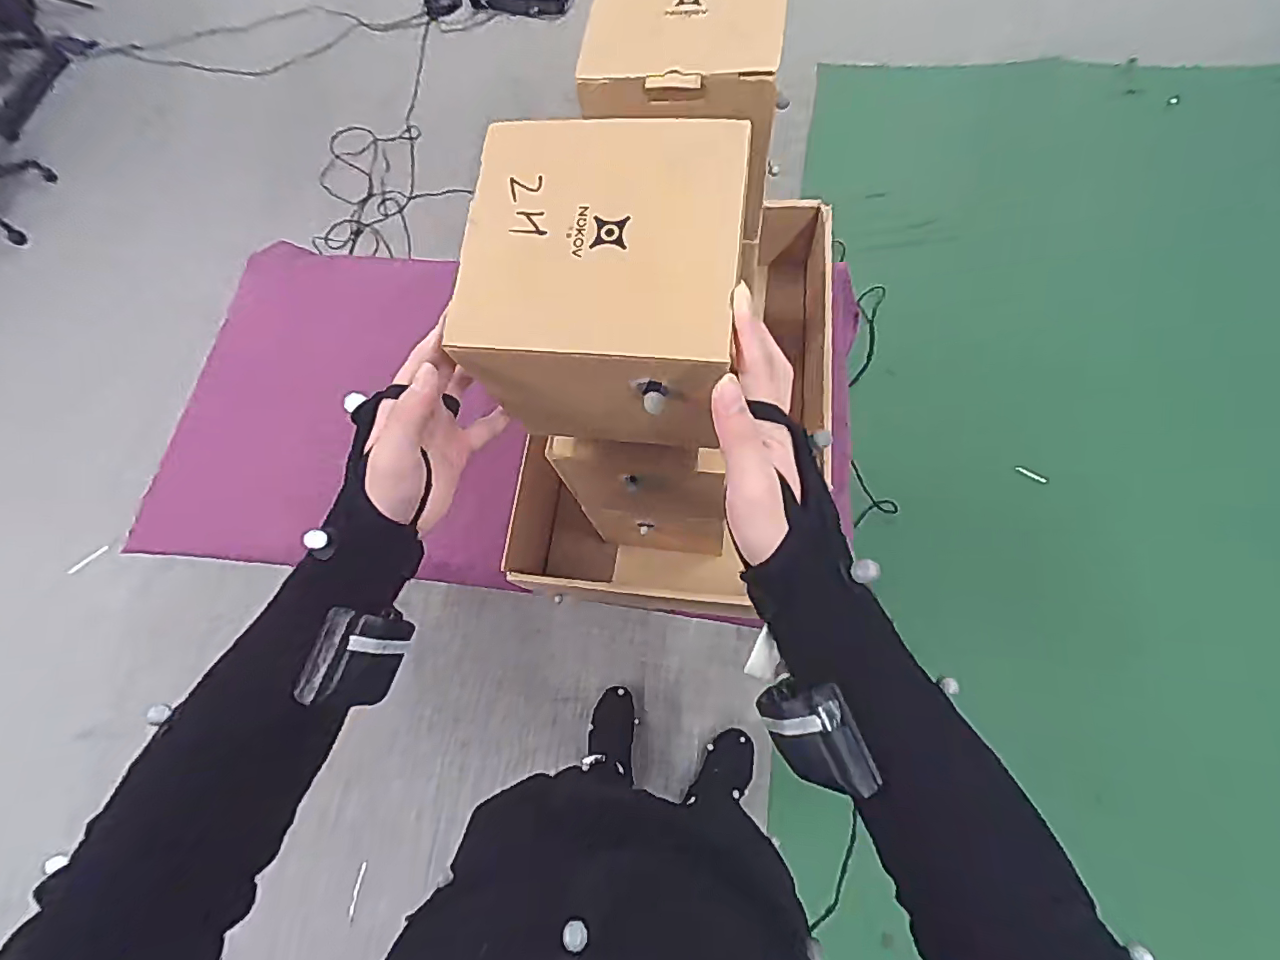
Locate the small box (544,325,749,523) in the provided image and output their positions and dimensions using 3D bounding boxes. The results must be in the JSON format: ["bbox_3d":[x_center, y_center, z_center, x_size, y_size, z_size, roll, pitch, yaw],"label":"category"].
[{"bbox_3d":[0.018,-0.059,0.594,0.179,0.176,0.168,8,71,10],"label":"small box"}]

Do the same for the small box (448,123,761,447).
[{"bbox_3d":[-0.012,-0.130,0.411,0.179,0.176,0.168,6,76,8],"label":"small box"}]

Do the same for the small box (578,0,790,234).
[{"bbox_3d":[0.051,-0.365,0.529,0.168,0.176,0.179,7,72,9],"label":"small box"}]
